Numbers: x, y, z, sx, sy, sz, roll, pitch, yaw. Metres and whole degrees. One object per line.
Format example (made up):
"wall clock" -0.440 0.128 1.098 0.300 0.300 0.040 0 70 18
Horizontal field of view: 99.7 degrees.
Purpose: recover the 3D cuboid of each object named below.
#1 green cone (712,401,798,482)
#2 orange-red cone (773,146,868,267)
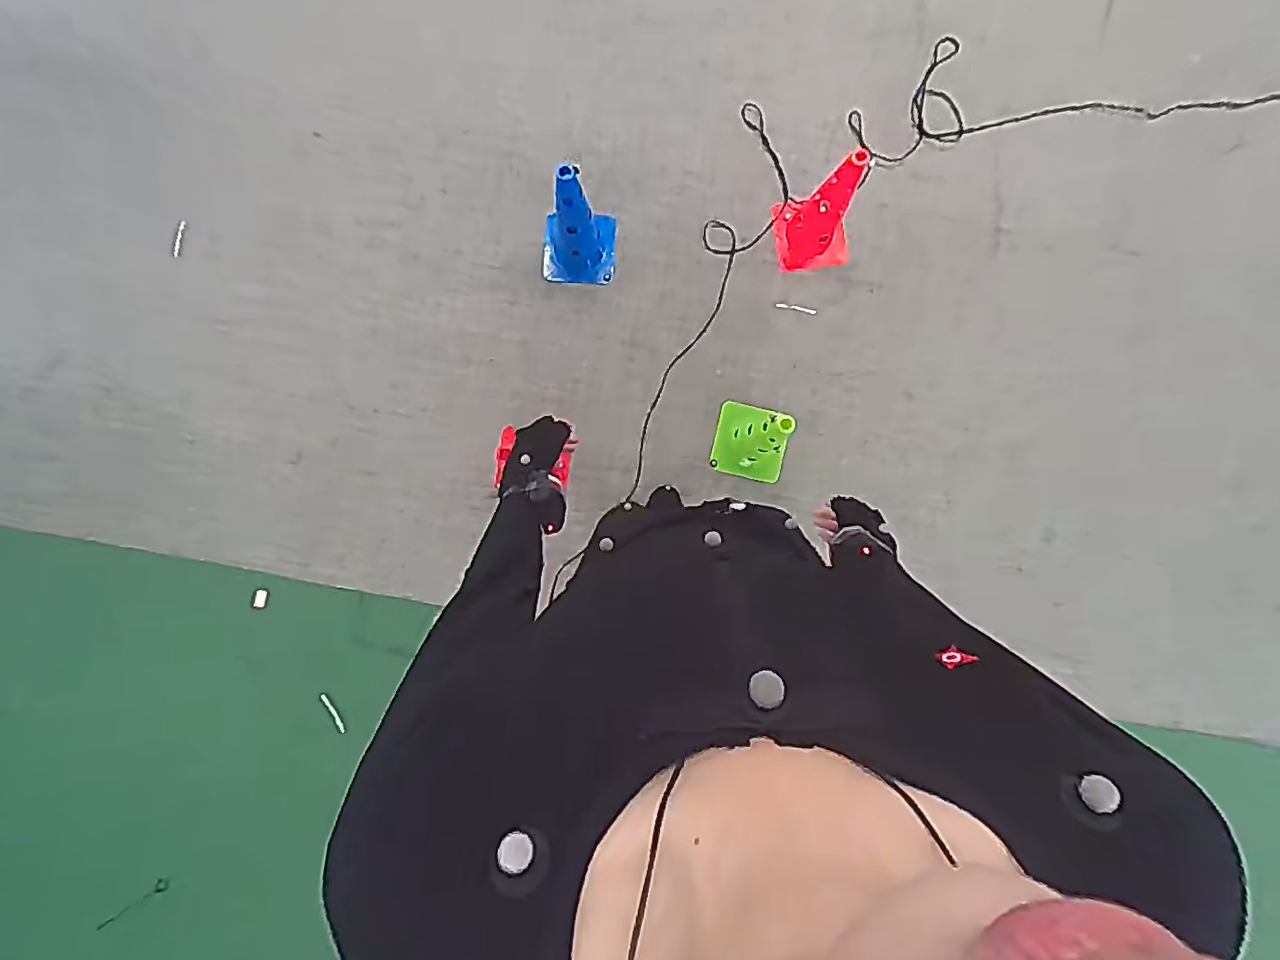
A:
"green cone" 0.318 -0.117 1.337 0.200 0.368 0.202 13 87 -1
"orange-red cone" 0.486 -0.715 1.367 0.198 0.360 0.199 -8 89 0
